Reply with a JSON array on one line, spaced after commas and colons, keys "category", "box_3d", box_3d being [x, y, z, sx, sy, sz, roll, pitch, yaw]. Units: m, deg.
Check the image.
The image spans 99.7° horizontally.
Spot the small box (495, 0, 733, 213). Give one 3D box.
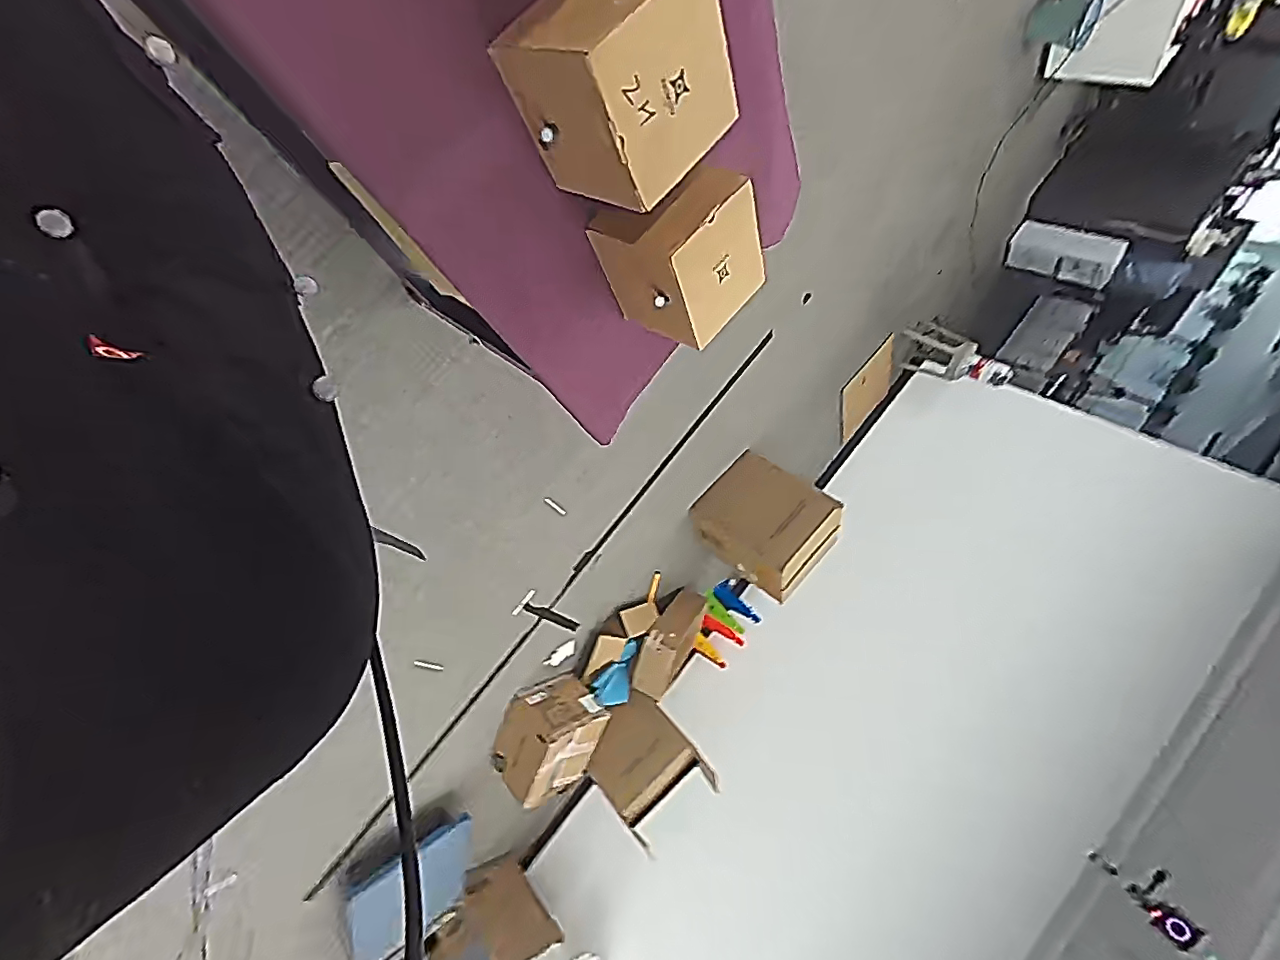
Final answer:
[{"category": "small box", "box_3d": [-0.025, -0.442, 0.606, 0.179, 0.176, 0.168, -49, 147, -10]}]

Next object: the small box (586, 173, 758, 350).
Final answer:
[{"category": "small box", "box_3d": [0.051, -0.333, 0.807, 0.168, 0.176, 0.179, -49, 147, -12]}]
